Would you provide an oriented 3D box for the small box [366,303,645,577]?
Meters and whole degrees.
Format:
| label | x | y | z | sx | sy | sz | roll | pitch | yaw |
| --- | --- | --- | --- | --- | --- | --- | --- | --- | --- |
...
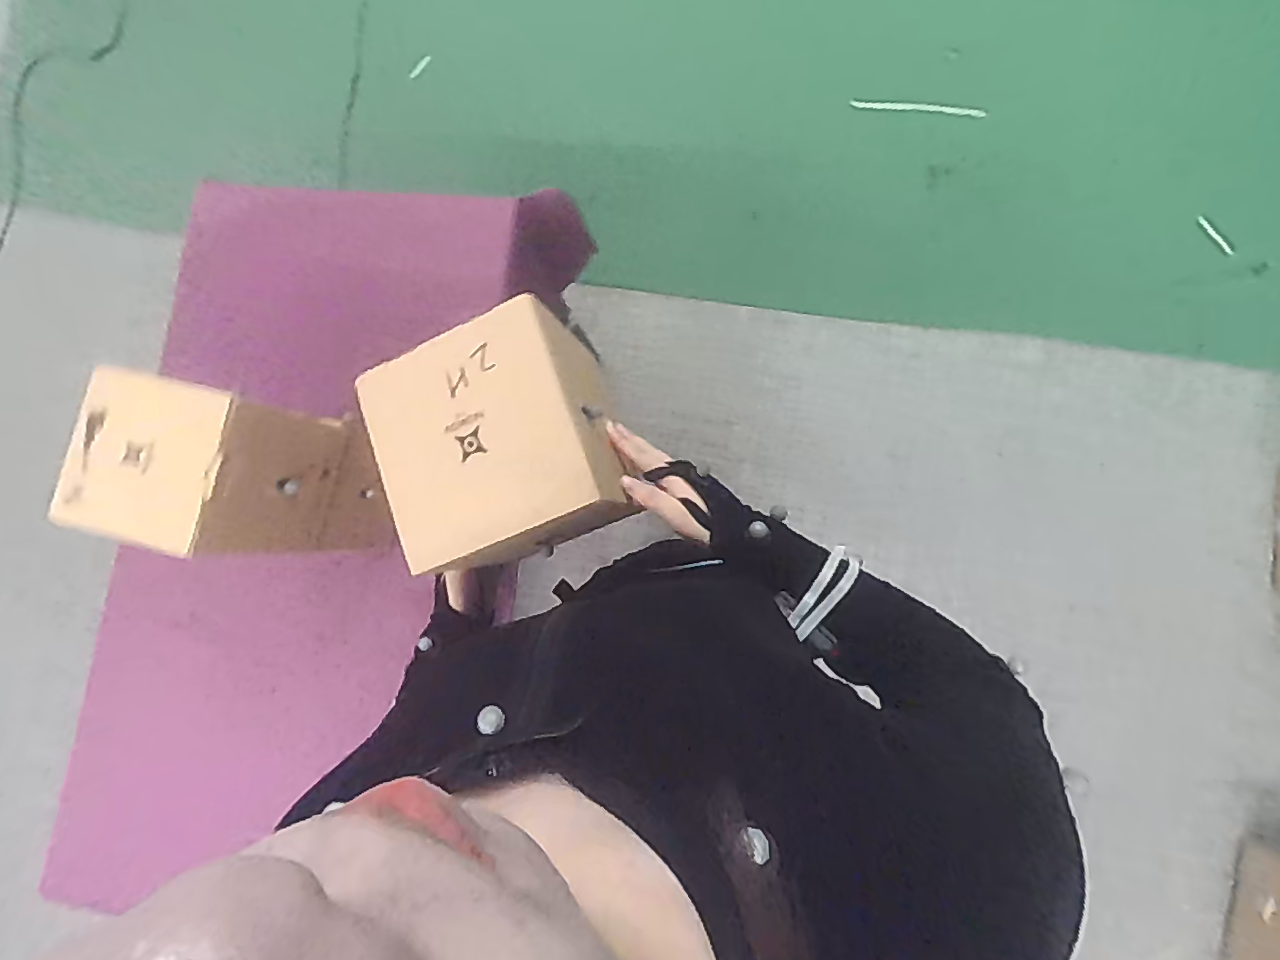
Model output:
| label | x | y | z | sx | sy | sz | roll | pitch | yaw |
| --- | --- | --- | --- | --- | --- | --- | --- | --- | --- |
| small box | -0.109 | -0.025 | 0.500 | 0.168 | 0.176 | 0.179 | -22 | 80 | 10 |

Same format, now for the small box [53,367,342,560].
| label | x | y | z | sx | sy | sz | roll | pitch | yaw |
| --- | --- | --- | --- | --- | --- | --- | --- | --- | --- |
| small box | -0.486 | -0.013 | 0.622 | 0.179 | 0.176 | 0.168 | 13 | 86 | 8 |
